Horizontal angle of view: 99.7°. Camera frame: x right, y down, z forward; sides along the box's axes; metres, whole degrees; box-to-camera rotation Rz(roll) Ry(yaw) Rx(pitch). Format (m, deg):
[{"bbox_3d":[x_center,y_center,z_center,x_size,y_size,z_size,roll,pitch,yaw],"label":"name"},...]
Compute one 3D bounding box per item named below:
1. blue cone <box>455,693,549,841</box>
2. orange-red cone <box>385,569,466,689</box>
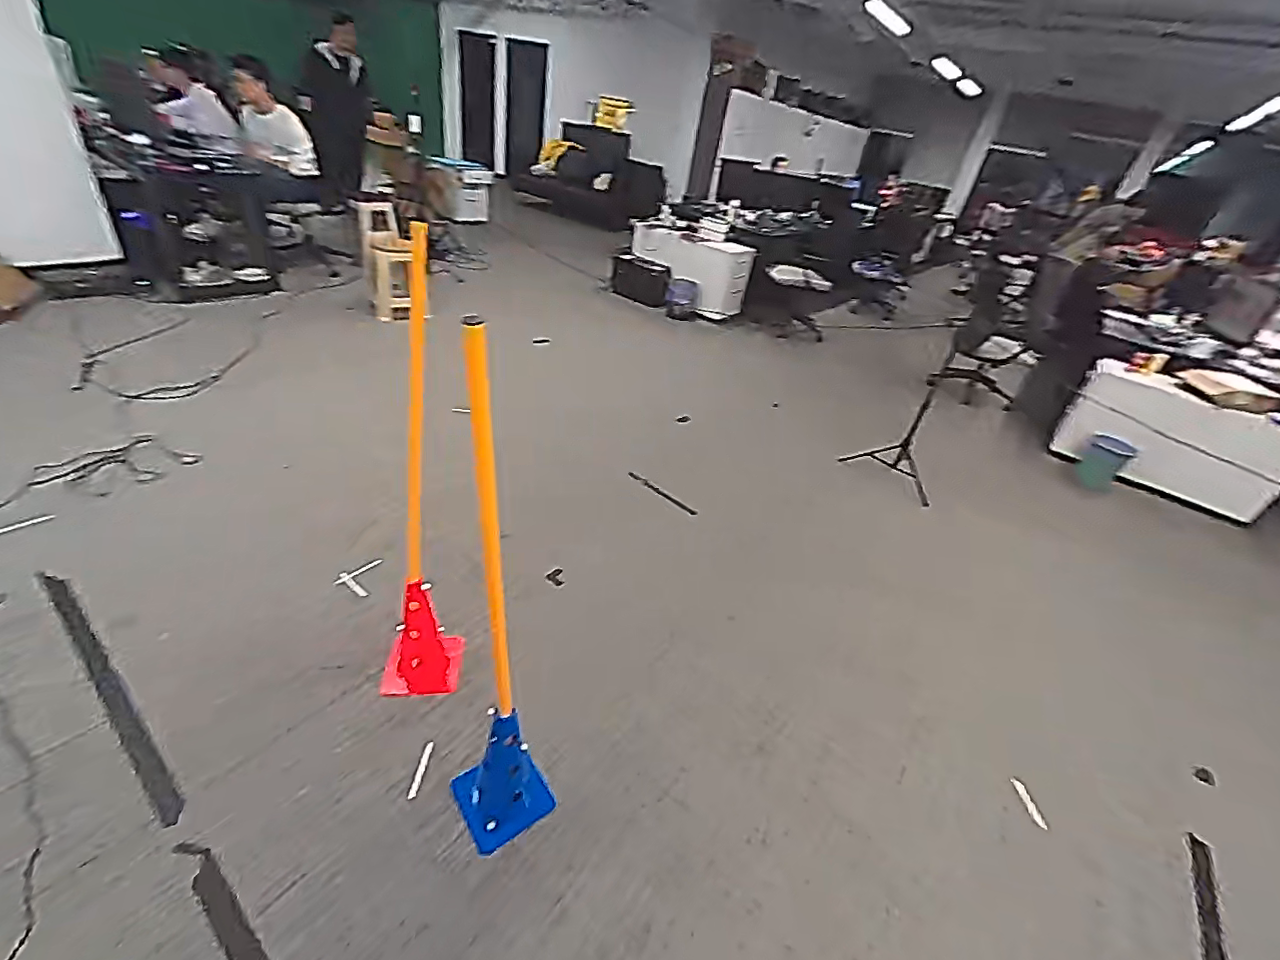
[{"bbox_3d":[-0.311,0.621,1.230,0.193,0.380,0.192,-16,41,-34],"label":"blue cone"},{"bbox_3d":[-0.595,0.384,1.475,0.198,0.360,0.199,3,36,-9],"label":"orange-red cone"}]
